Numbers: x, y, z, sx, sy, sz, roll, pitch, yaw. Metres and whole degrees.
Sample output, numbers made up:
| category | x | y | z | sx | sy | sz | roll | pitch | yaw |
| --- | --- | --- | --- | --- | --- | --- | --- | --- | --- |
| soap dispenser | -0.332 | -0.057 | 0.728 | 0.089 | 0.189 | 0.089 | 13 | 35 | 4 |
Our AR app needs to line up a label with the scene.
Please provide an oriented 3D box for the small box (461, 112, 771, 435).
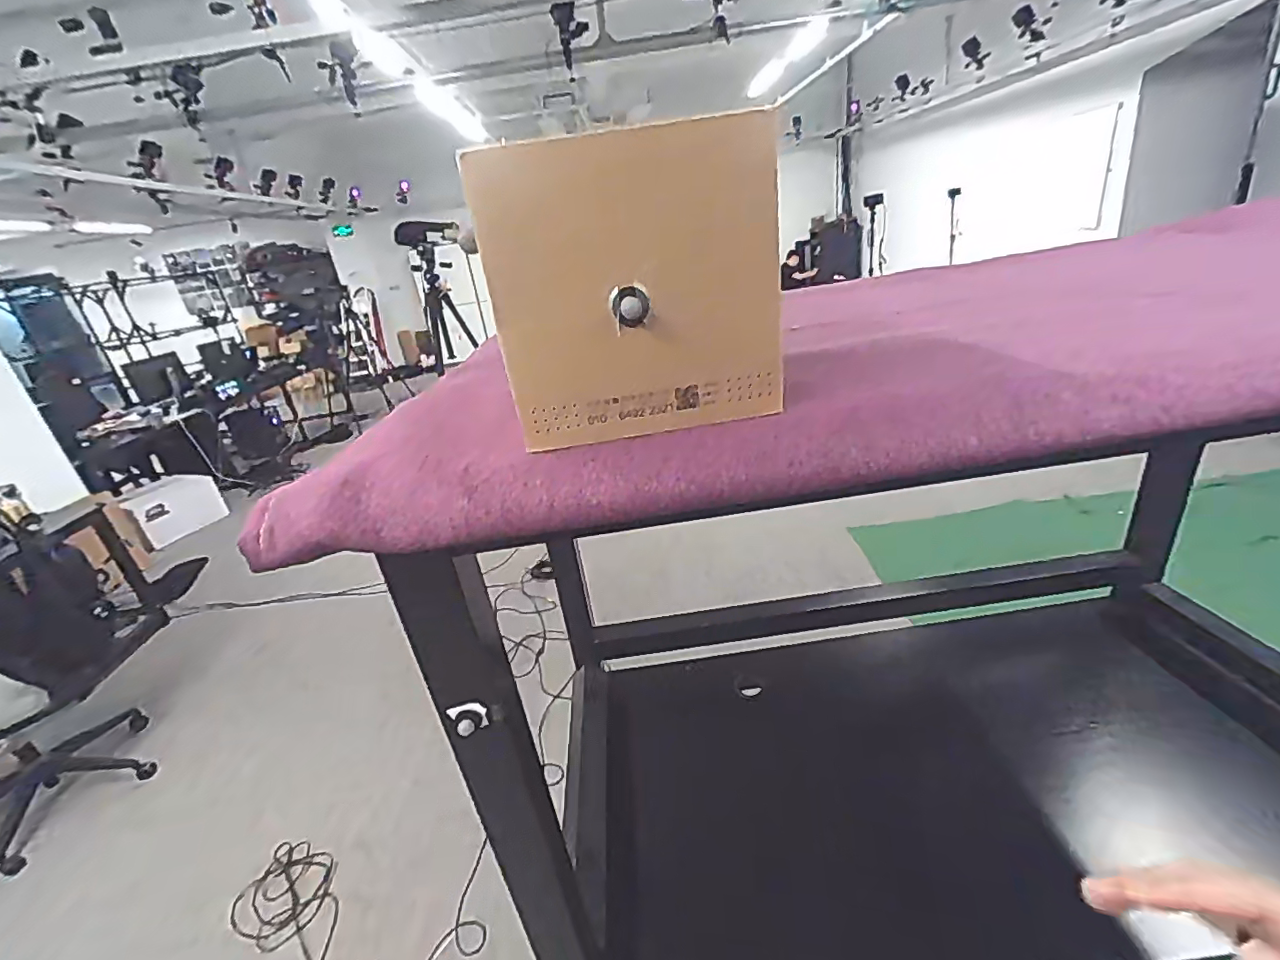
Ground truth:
| category | x | y | z | sx | sy | sz | roll | pitch | yaw |
| --- | --- | --- | --- | --- | --- | --- | --- | --- | --- |
| small box | -0.010 | -0.137 | 0.388 | 0.168 | 0.176 | 0.179 | -9 | 24 | -2 |
